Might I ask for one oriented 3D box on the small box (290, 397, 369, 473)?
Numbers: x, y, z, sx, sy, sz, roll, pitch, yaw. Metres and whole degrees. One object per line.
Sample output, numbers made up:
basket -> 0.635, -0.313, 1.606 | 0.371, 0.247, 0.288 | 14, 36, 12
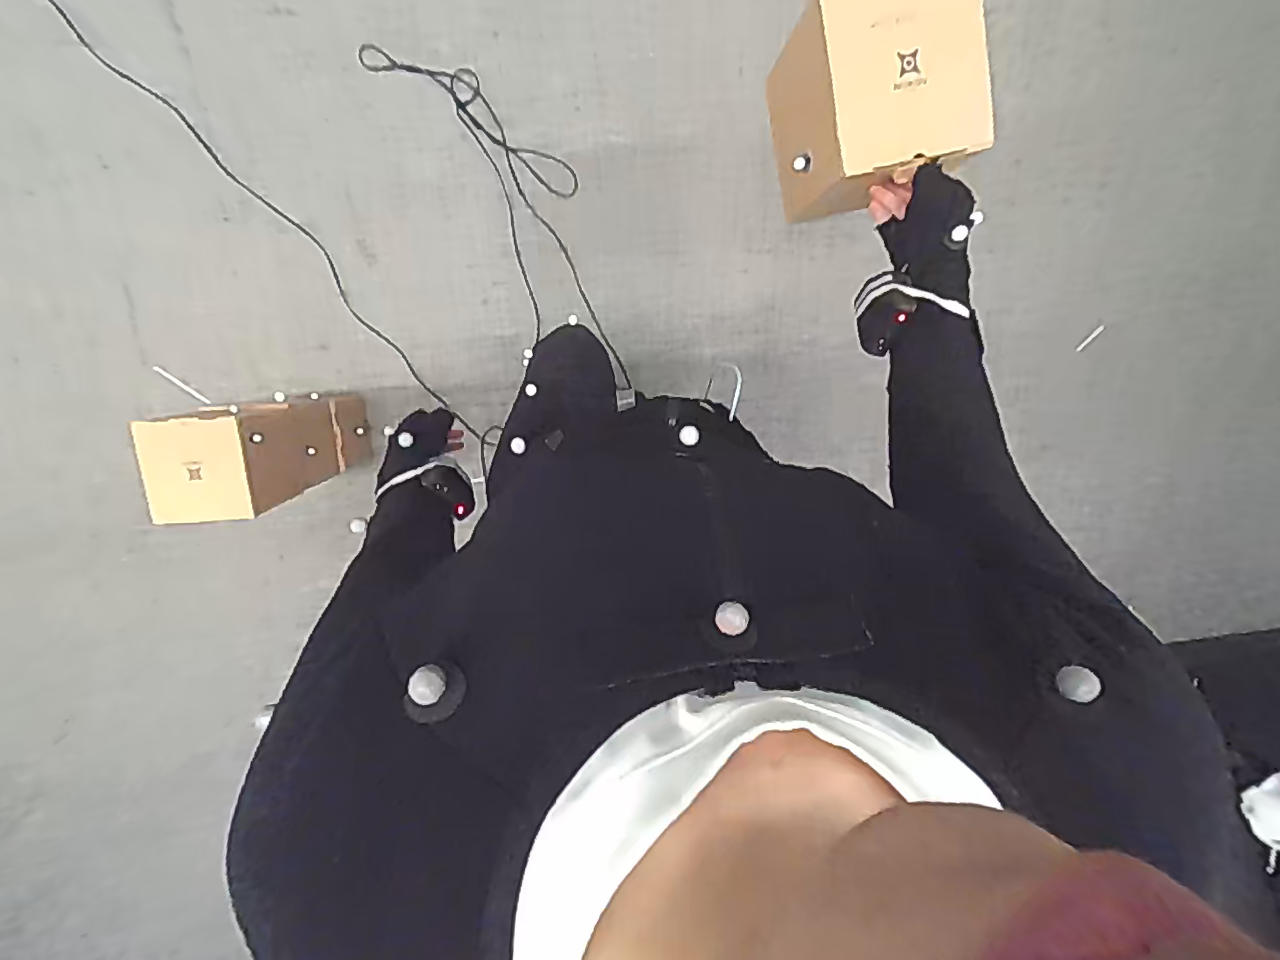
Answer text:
small box -> -0.768, -0.108, 1.291 | 0.179, 0.176, 0.168 | -4, 103, -5

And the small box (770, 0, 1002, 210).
small box -> 0.257, -0.419, 0.597 | 0.168, 0.176, 0.179 | -13, 100, -3

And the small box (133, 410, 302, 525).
small box -> -0.742, -0.029, 0.974 | 0.168, 0.176, 0.179 | -3, 102, -5

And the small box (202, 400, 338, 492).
small box -> -0.759, -0.073, 1.130 | 0.168, 0.176, 0.179 | -3, 102, -5
